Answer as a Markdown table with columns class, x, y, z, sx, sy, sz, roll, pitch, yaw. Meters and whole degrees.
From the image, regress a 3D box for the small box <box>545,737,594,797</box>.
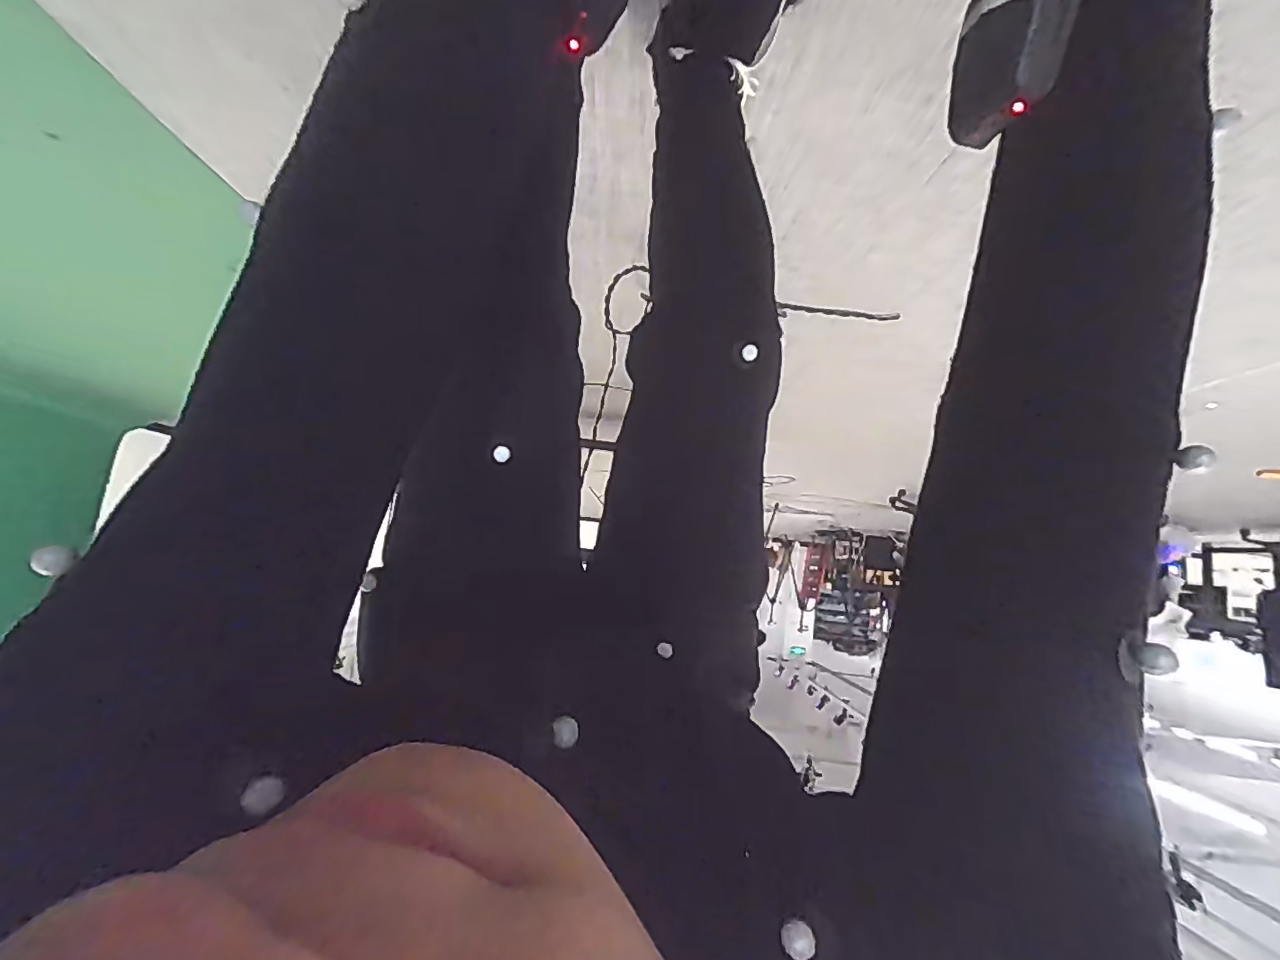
| class | x | y | z | sx | sy | sz | roll | pitch | yaw |
| --- | --- | --- | --- | --- | --- | --- | --- | --- | --- |
| small box | -0.288 | 1.197 | 2.265 | 0.179 | 0.176 | 0.168 | 6 | 172 | 3 |
